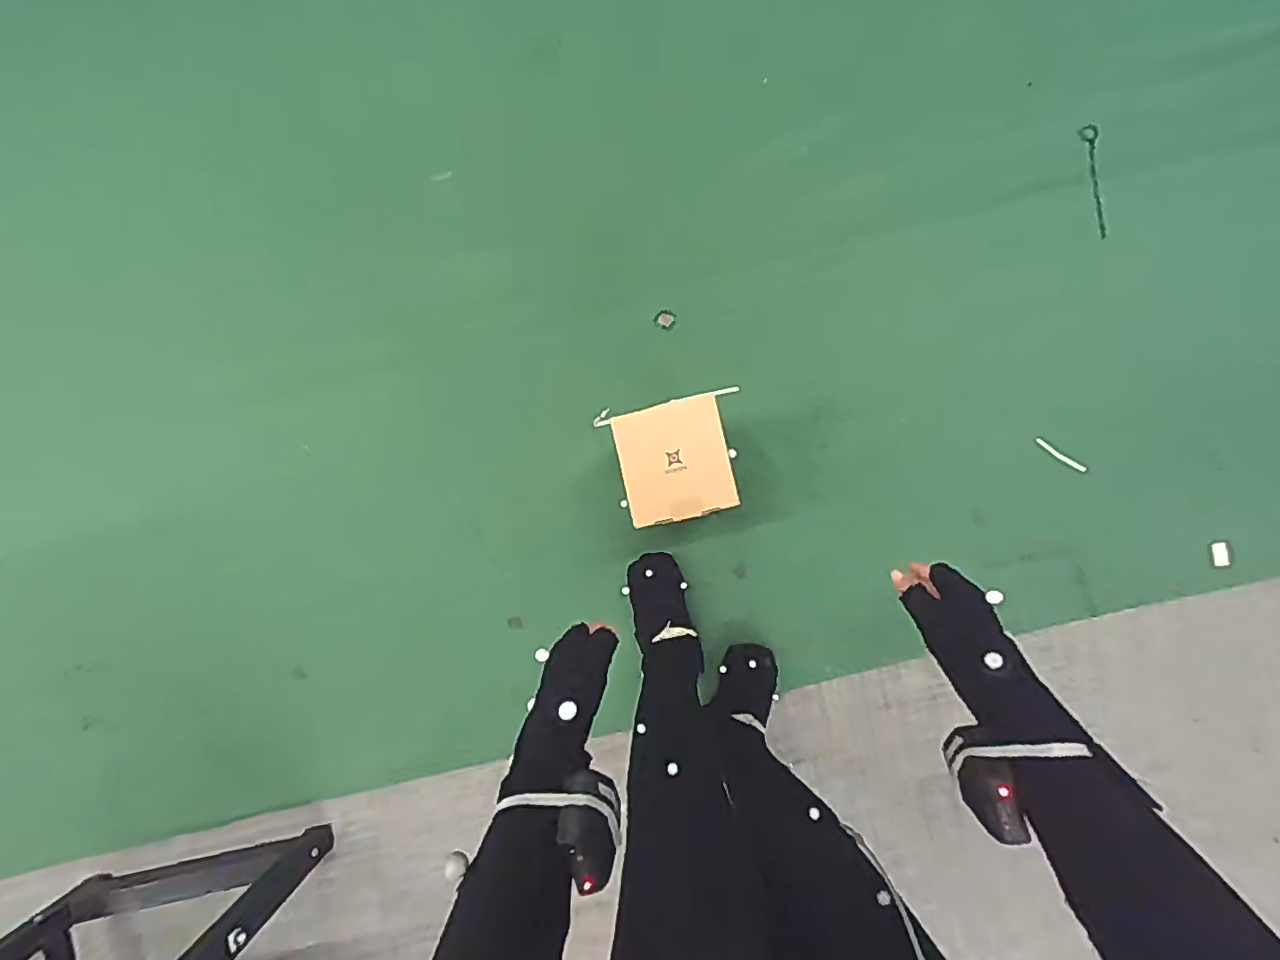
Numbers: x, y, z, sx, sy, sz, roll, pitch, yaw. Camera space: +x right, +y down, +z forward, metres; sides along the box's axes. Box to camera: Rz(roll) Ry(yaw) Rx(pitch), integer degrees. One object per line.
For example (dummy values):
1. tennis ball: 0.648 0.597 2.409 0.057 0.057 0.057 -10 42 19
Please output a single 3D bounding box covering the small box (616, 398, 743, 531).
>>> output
1. small box: 0.062 -0.022 0.901 0.168 0.176 0.179 -14 90 2
